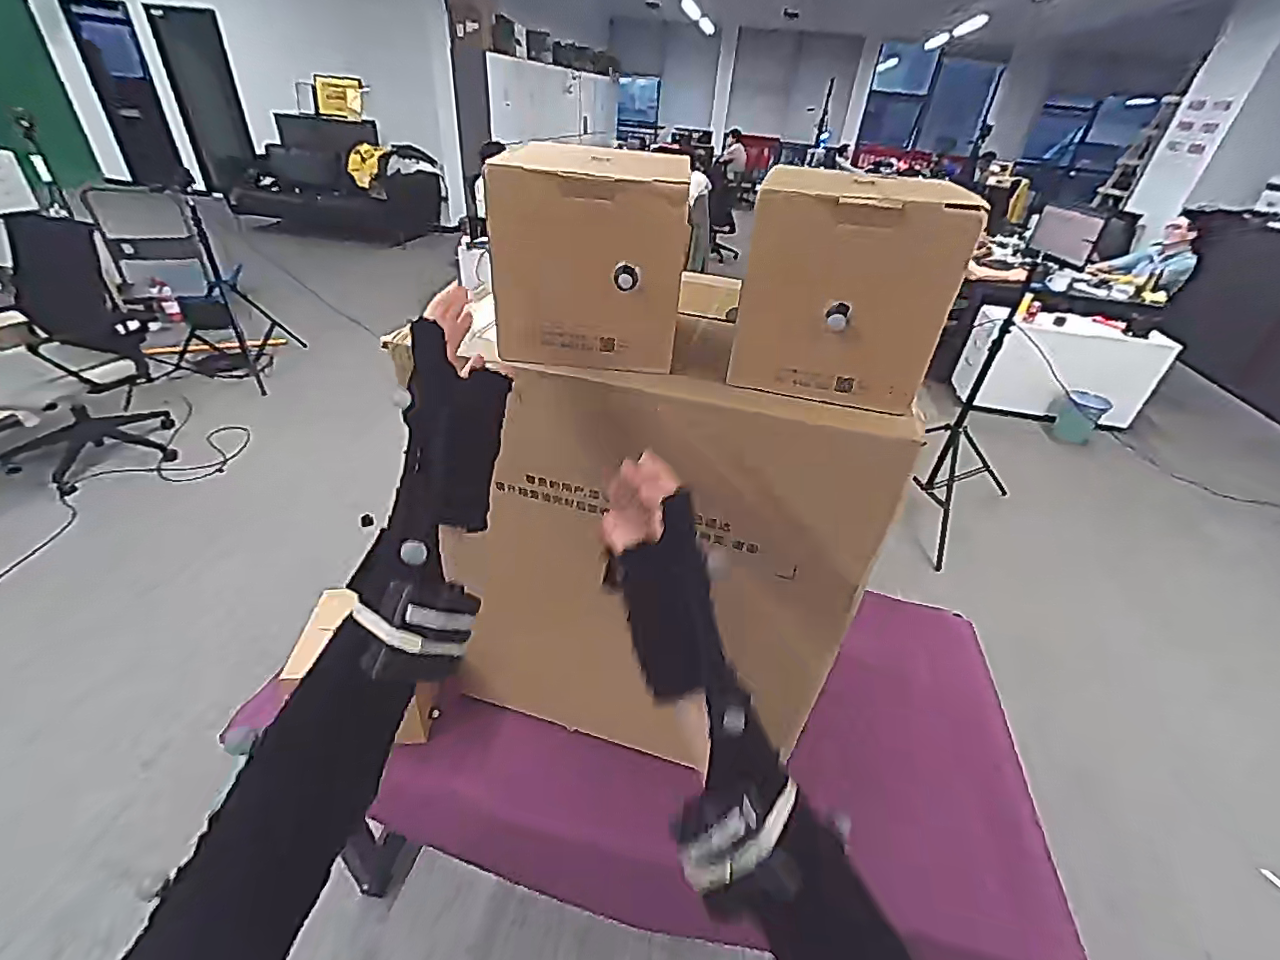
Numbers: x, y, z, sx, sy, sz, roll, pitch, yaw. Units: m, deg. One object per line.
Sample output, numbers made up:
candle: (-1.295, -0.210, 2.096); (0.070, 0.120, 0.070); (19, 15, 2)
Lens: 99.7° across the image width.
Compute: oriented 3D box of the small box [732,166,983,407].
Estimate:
small box: (0.188, -0.188, 0.515); (0.168, 0.176, 0.179); (13, 37, 10)

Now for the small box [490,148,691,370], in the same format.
small box: (-0.040, -0.223, 0.542); (0.168, 0.176, 0.179); (6, 35, -1)
